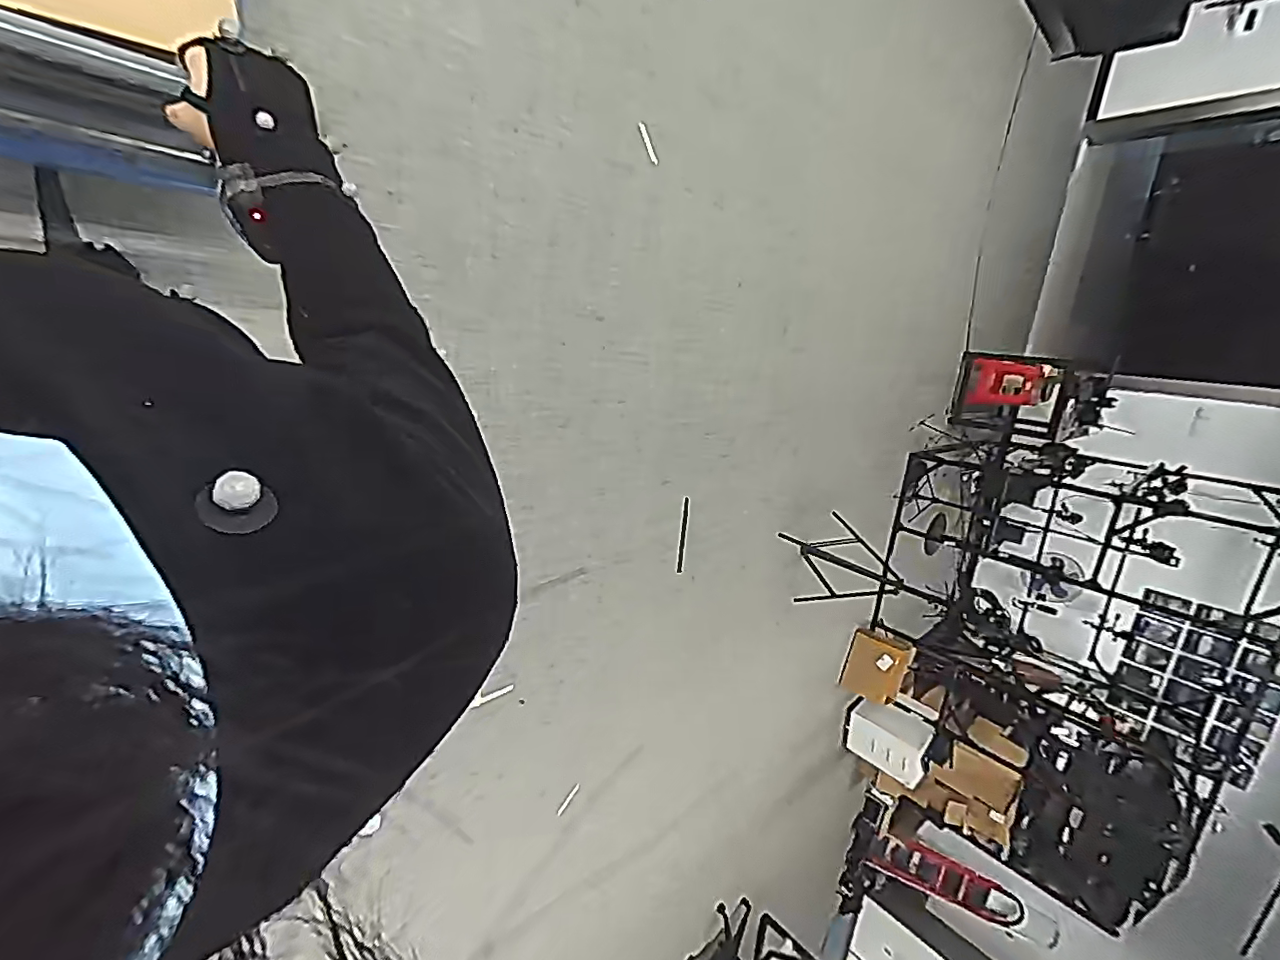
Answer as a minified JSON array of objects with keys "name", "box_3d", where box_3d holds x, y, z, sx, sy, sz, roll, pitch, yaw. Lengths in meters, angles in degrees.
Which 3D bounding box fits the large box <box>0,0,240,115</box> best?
[{"name":"large box","box_3d":[-0.796,-0.714,0.674,0.408,0.320,0.320,-13,114,-43]}]
